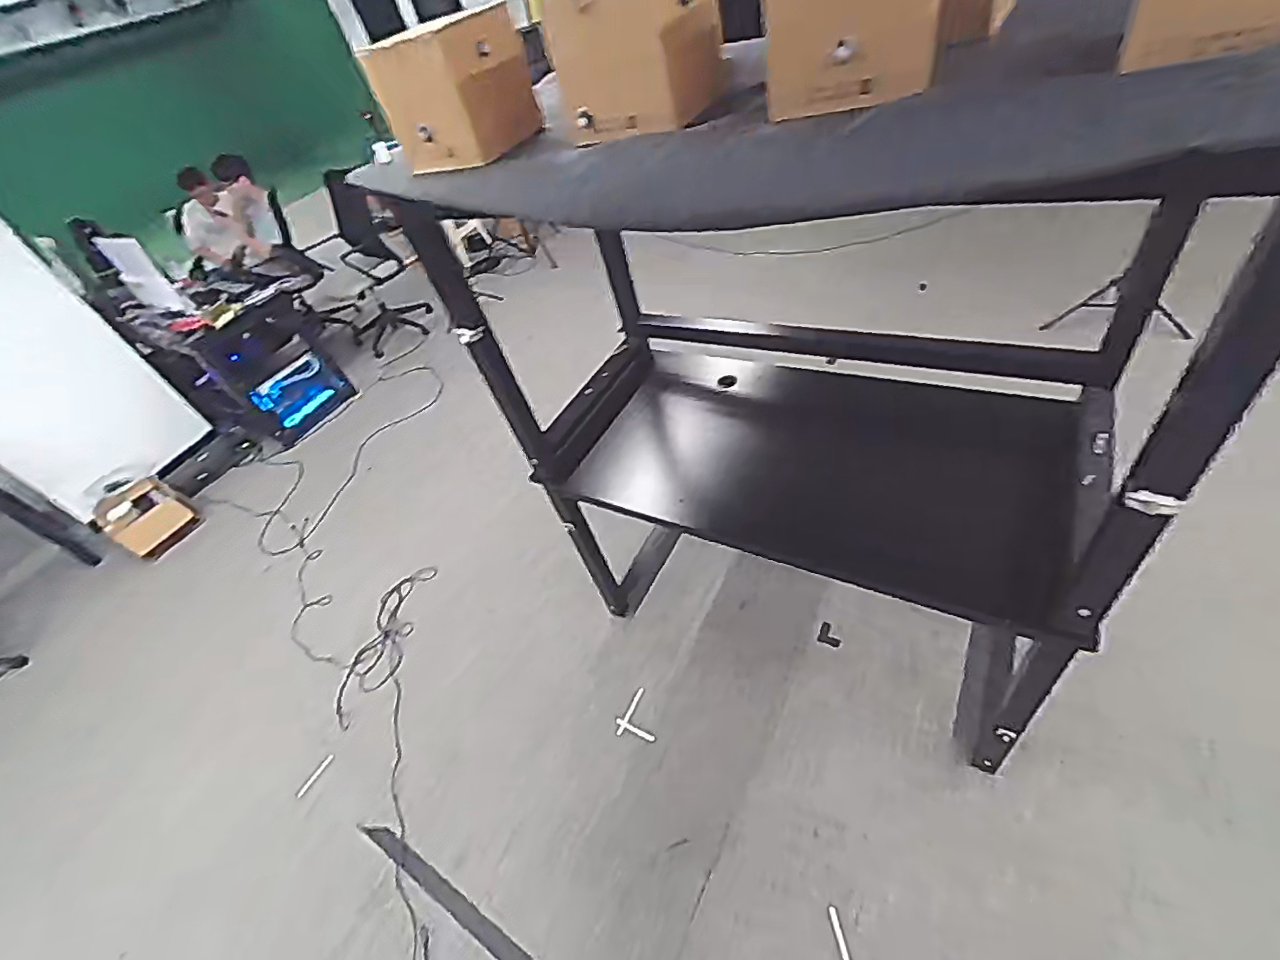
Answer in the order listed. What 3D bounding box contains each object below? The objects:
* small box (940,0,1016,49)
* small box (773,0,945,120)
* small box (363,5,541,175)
[{"bbox_3d":[0.387,-0.667,0.690,0.179,0.176,0.168,16,53,31],"label":"small box"},{"bbox_3d":[0.245,-0.526,0.598,0.168,0.176,0.179,7,50,25],"label":"small box"},{"bbox_3d":[-0.276,-0.601,0.845,0.168,0.176,0.179,11,52,27],"label":"small box"}]
